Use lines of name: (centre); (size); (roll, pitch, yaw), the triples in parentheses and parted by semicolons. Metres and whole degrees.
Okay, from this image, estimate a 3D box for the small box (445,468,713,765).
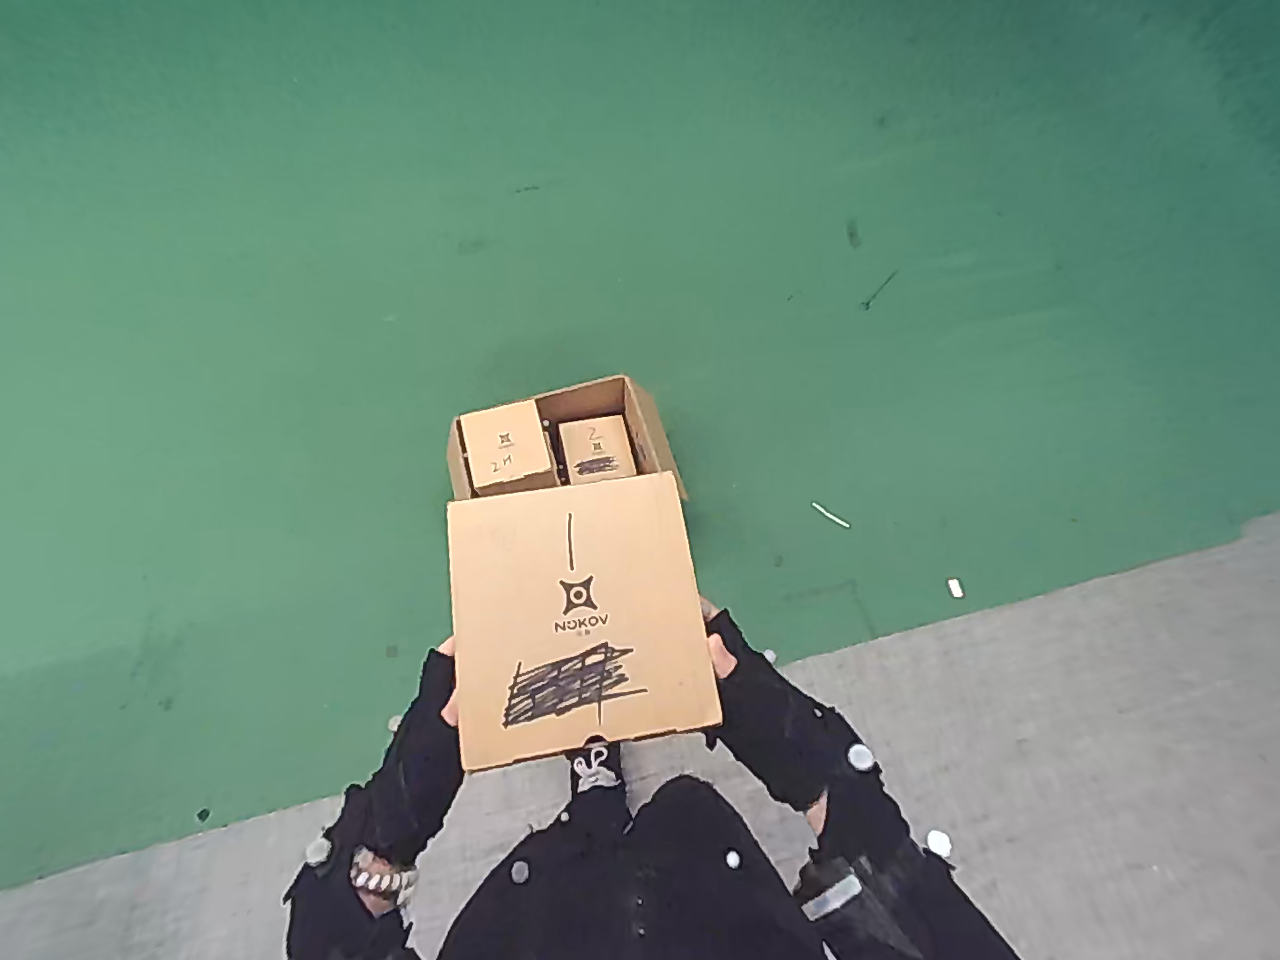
small box: (-0.047, 0.107, 0.439); (0.168, 0.176, 0.179); (-8, 72, -6)
